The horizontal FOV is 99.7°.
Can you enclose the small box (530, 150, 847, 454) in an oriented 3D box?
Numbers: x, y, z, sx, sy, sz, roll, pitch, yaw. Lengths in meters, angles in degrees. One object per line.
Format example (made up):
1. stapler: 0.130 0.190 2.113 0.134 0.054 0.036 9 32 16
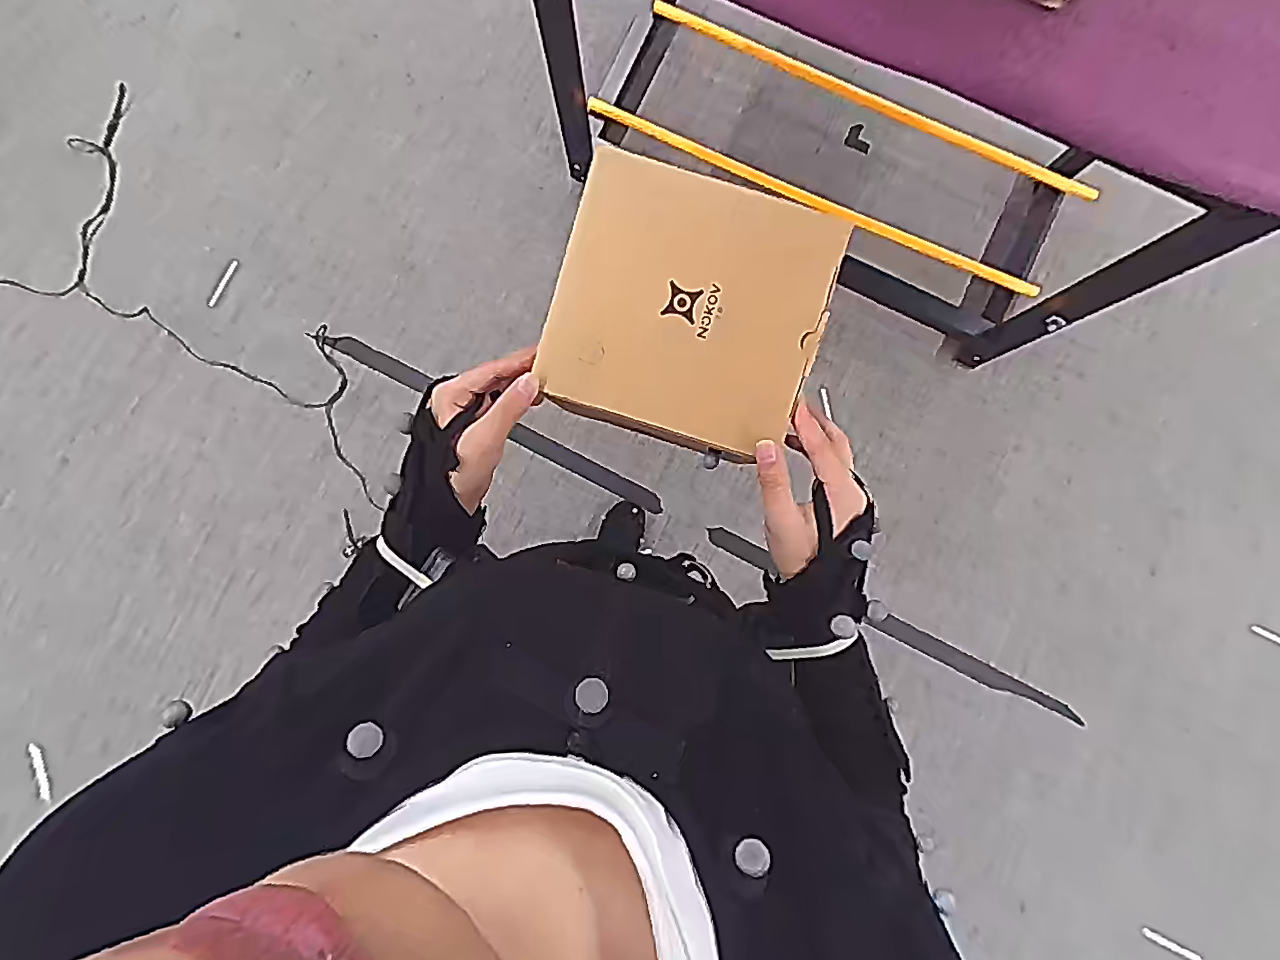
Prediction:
1. small box: 0.032 -0.120 0.439 0.179 0.176 0.168 17 92 0
